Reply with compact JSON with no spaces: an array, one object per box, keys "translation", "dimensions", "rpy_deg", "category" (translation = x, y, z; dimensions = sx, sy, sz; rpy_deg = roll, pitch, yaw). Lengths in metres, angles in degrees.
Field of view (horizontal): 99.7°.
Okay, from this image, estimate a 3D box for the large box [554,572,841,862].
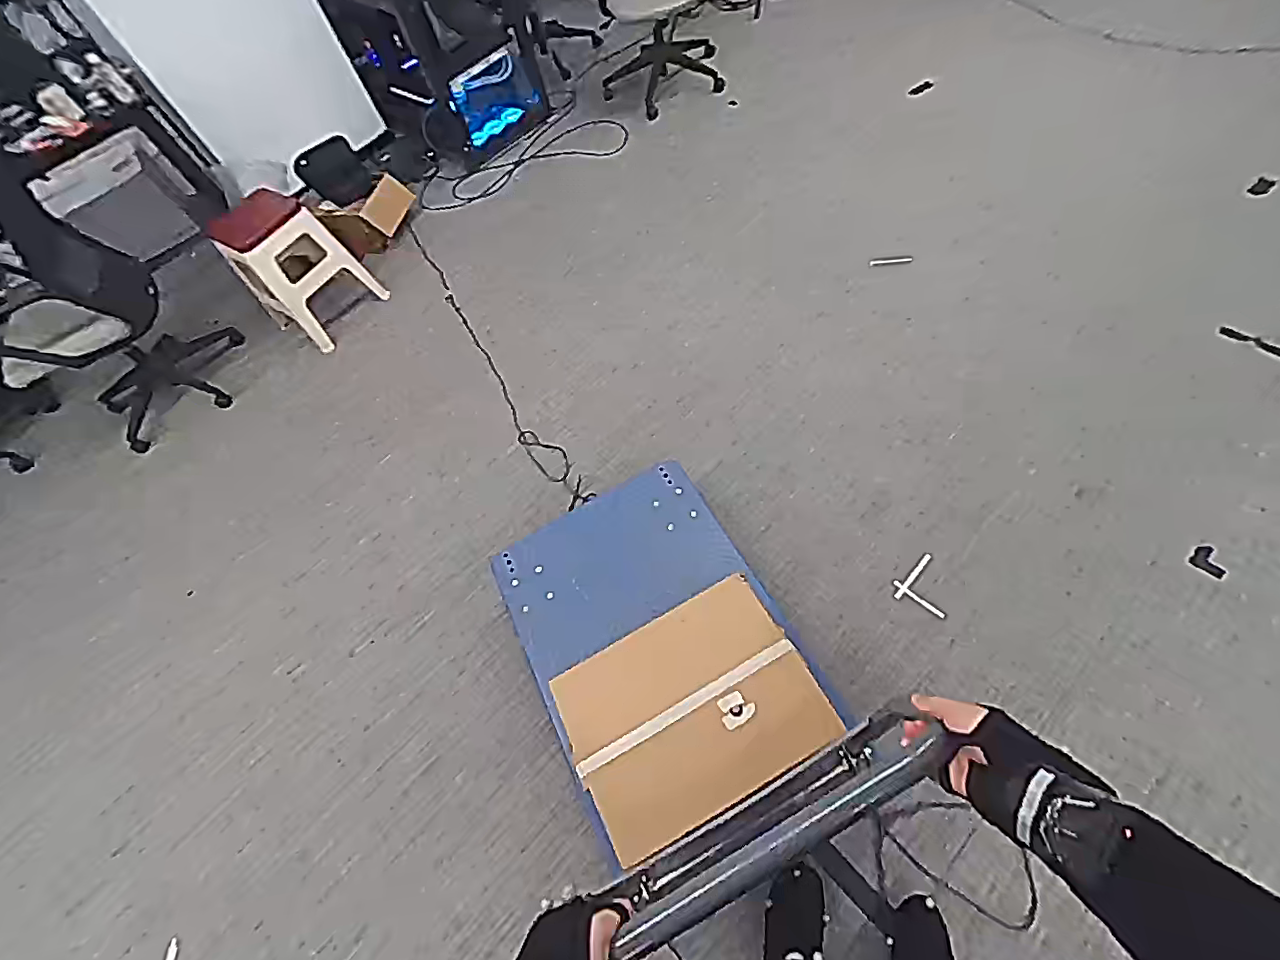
[{"translation":[0.108,0.452,1.043],"dimensions":[0.408,0.320,0.320],"rpy_deg":[-29,59,-6],"category":"large box"}]
